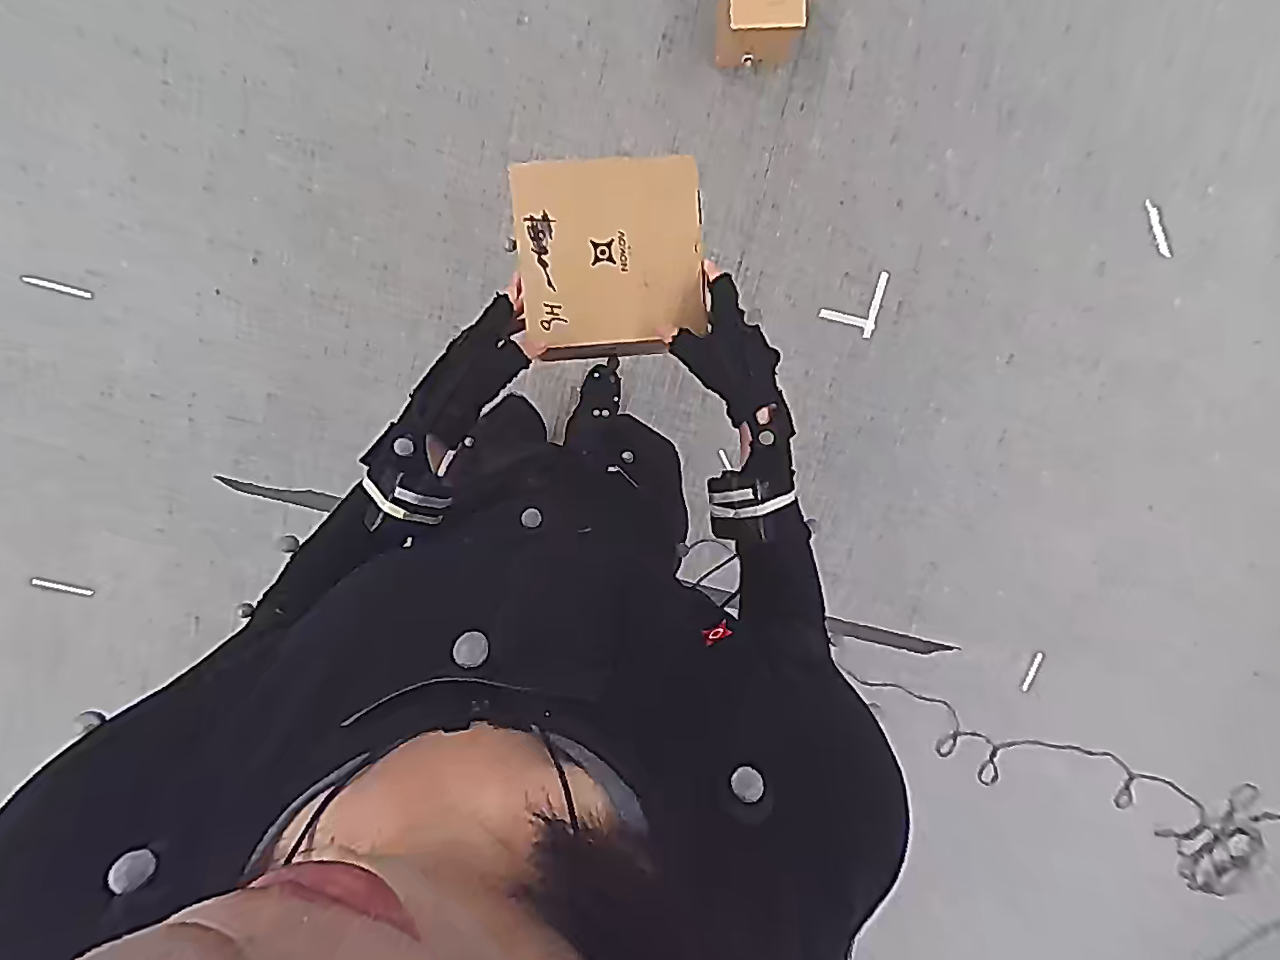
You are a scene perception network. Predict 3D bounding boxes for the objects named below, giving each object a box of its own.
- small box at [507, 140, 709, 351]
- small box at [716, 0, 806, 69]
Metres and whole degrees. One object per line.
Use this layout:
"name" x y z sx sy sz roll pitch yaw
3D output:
"small box" -0.035 -0.232 0.571 0.179 0.176 0.168 -6 98 -5
"small box" 0.267 -1.073 1.220 0.168 0.176 0.179 -4 103 -1
